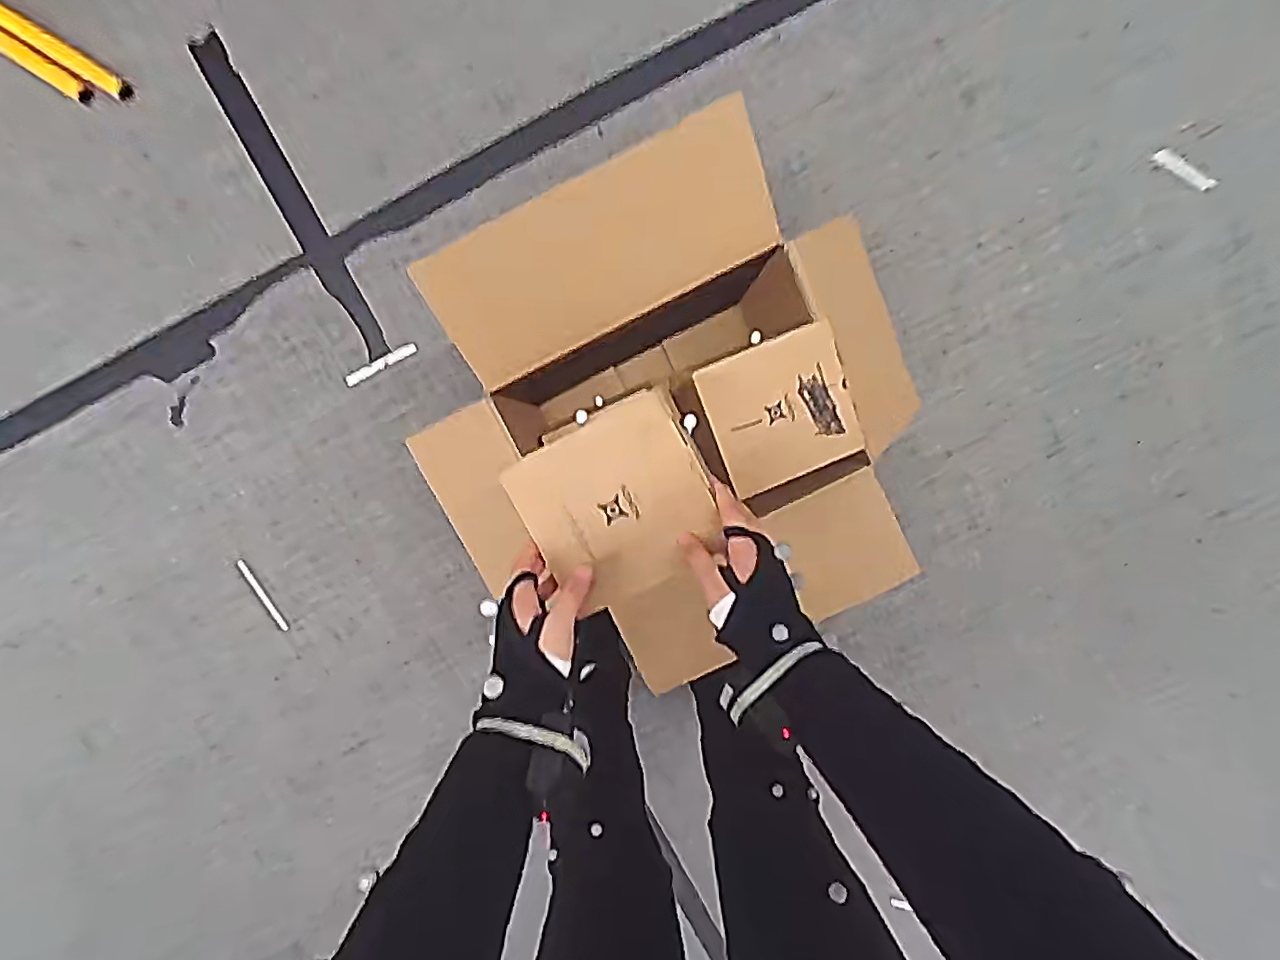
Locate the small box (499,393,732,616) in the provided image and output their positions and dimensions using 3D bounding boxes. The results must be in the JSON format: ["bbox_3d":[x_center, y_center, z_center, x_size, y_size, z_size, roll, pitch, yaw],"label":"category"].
[{"bbox_3d":[-0.017,0.013,0.592,0.179,0.176,0.168,-27,96,10],"label":"small box"}]
